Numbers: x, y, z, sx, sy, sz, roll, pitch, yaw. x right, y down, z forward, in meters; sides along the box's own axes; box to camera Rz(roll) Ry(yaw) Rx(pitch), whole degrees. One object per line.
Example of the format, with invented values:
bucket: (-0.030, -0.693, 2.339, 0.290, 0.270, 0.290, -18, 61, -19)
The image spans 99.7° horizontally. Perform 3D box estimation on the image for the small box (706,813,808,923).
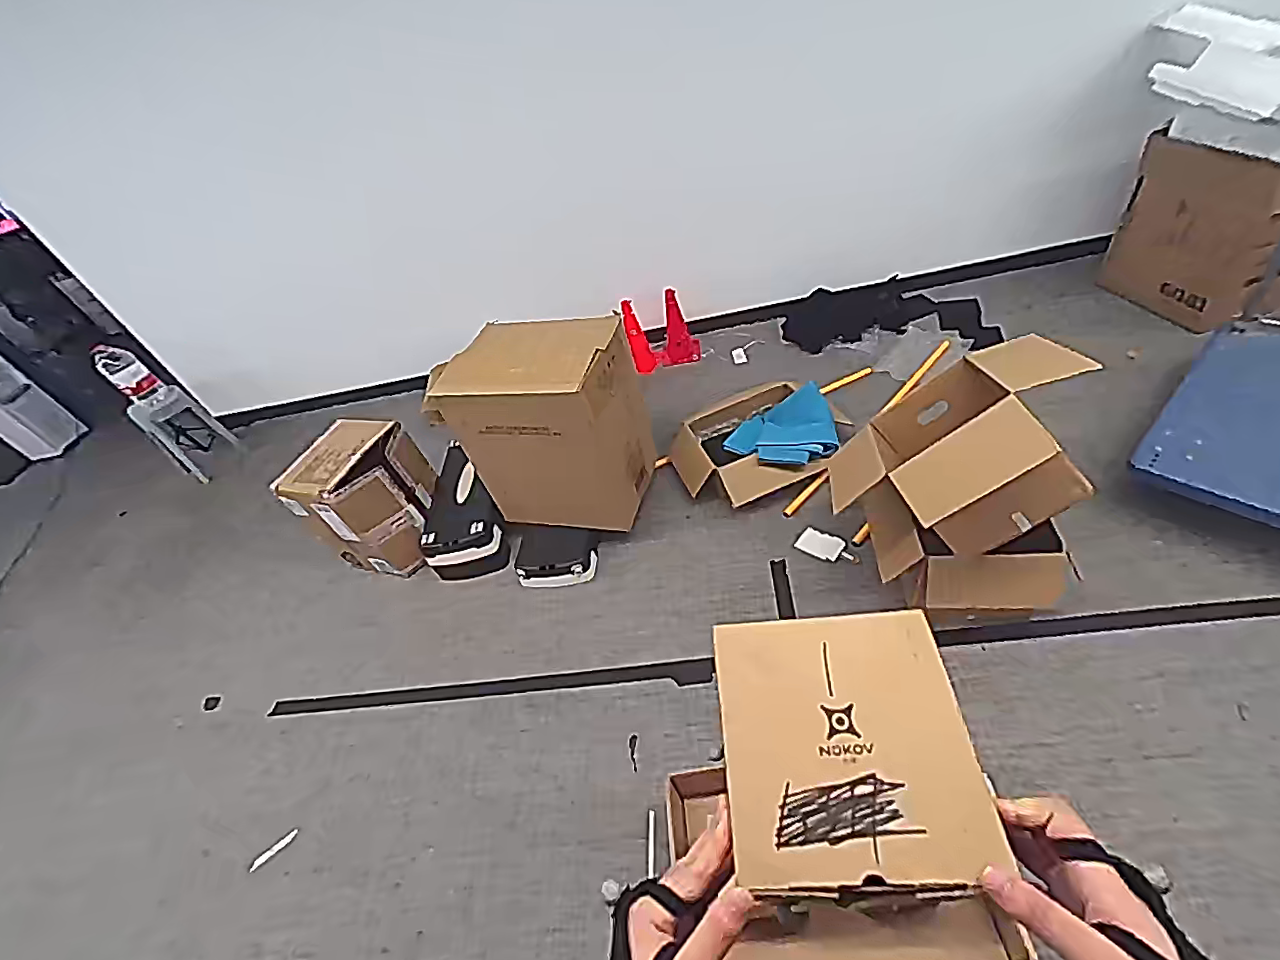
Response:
small box: (0.245, 0.810, 1.139, 0.179, 0.176, 0.168, -12, 42, 4)

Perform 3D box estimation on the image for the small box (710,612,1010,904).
small box: (0.149, 0.227, 0.434, 0.168, 0.176, 0.179, -6, 49, 7)
